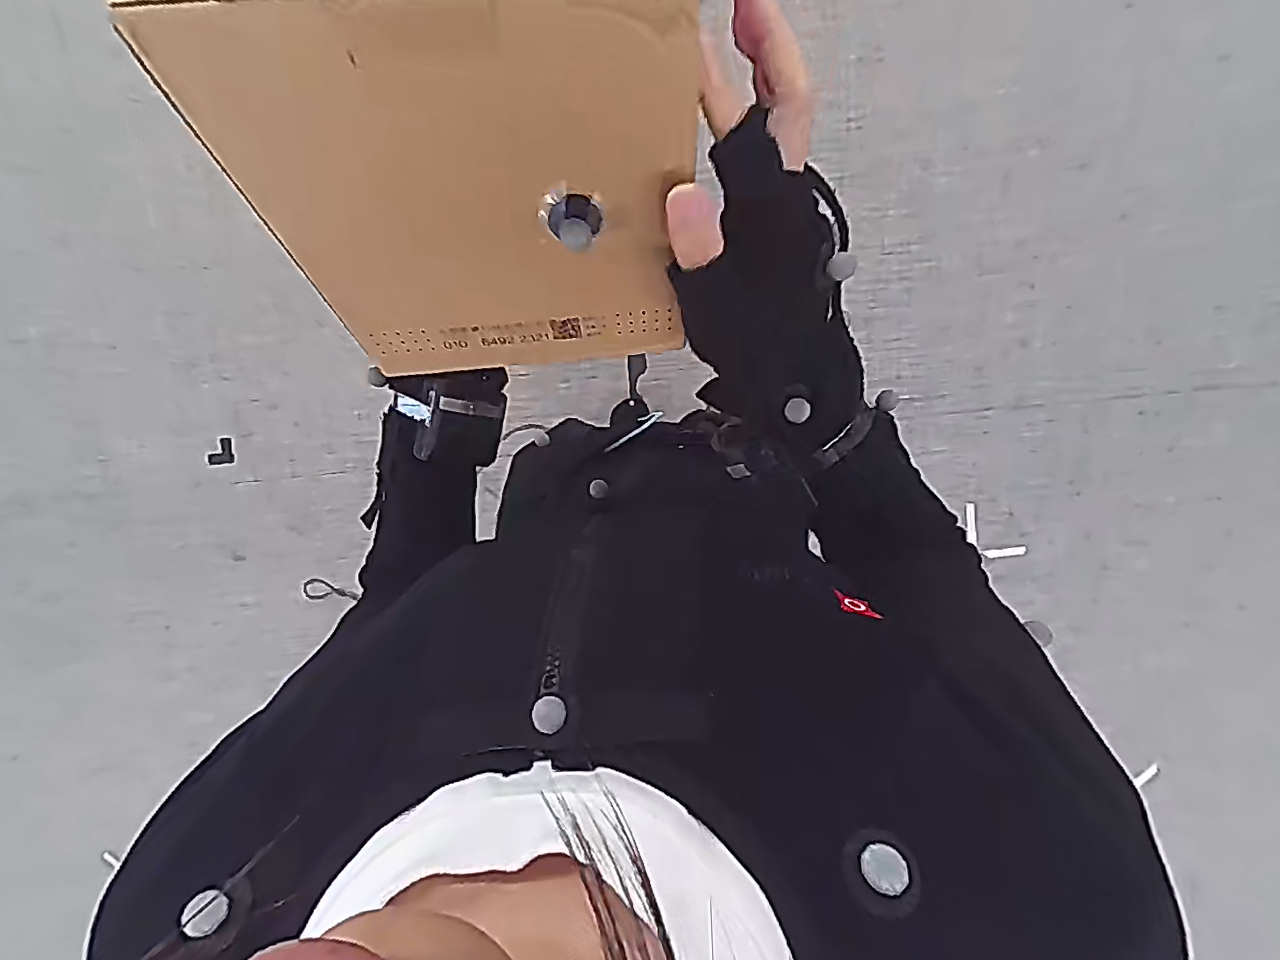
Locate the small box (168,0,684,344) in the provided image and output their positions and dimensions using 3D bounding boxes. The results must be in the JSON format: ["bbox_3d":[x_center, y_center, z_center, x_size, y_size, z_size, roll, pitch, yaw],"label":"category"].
[{"bbox_3d":[-0.065,-0.184,0.272,0.168,0.176,0.179,-4,64,2],"label":"small box"}]
